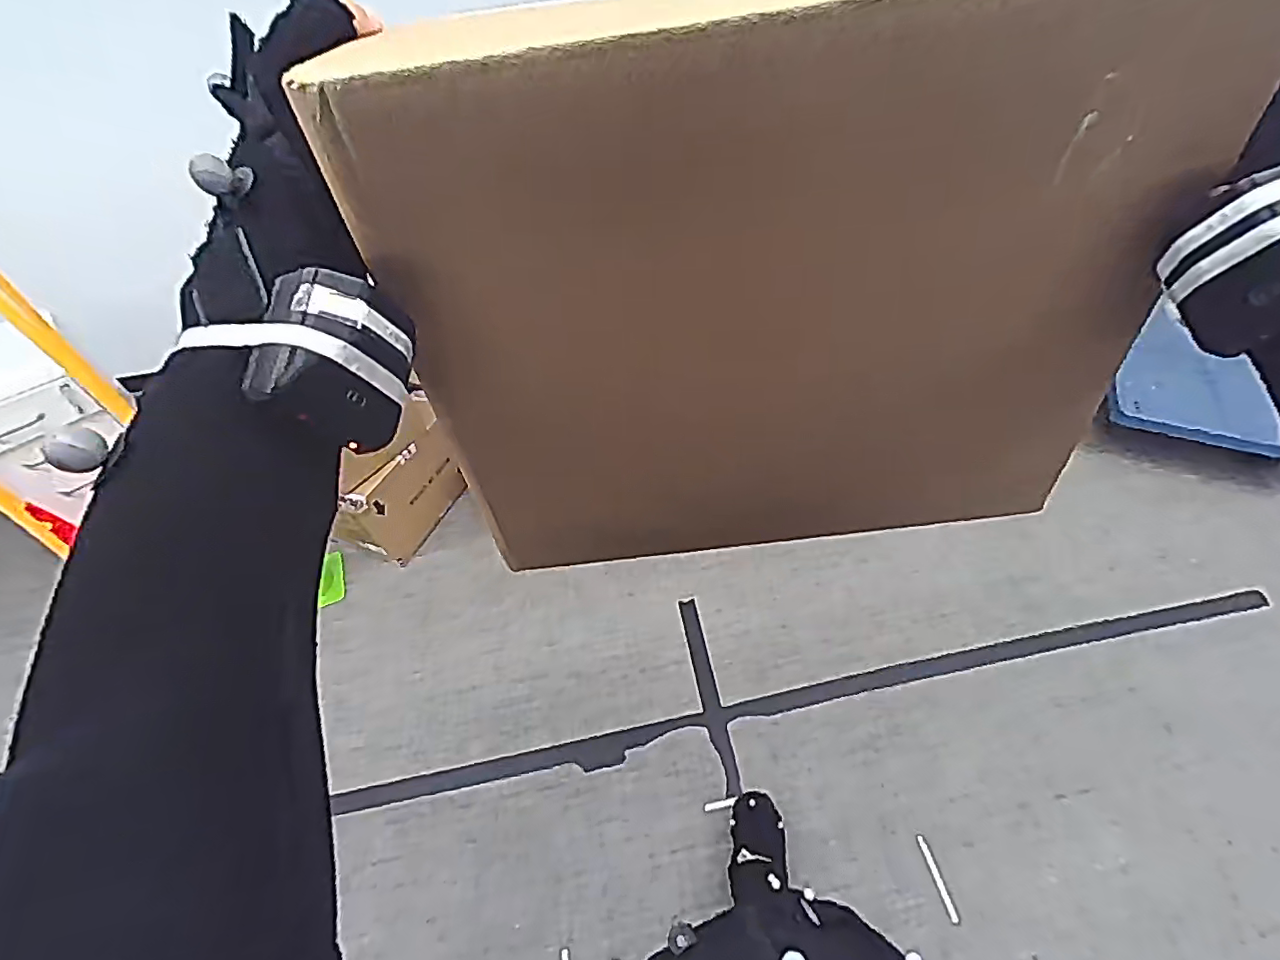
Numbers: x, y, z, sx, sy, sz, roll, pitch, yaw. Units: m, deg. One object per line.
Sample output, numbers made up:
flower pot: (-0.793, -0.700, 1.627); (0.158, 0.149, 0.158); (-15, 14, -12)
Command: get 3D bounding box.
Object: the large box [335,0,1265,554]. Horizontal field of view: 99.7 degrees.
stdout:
large box: (0.070, -0.172, 0.430); (0.408, 0.320, 0.320); (-7, 43, 1)
